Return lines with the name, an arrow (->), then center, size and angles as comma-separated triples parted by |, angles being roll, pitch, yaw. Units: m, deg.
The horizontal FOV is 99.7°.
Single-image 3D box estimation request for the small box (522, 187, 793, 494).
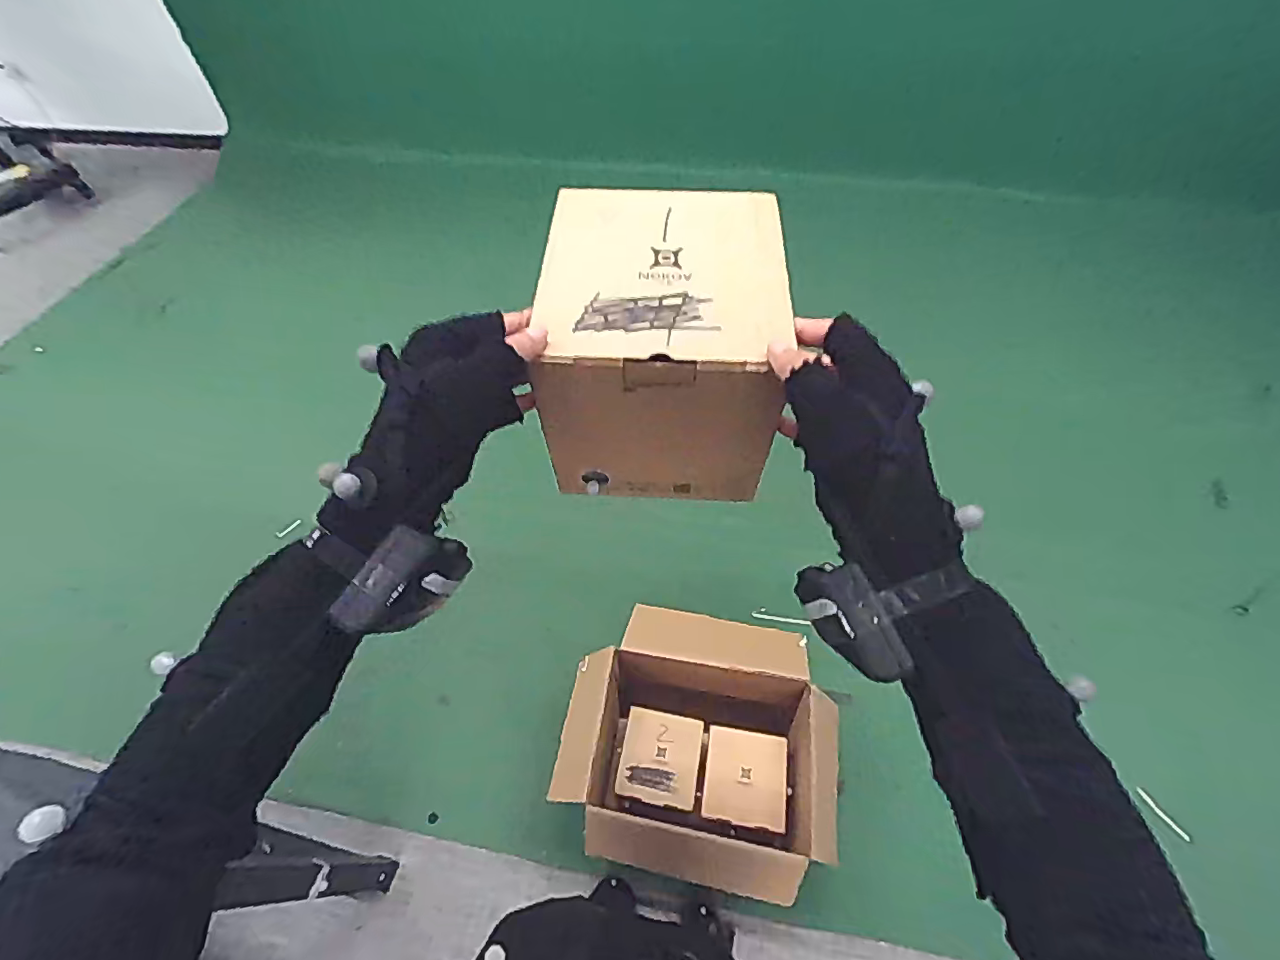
small box -> 0.016, -0.102, 0.430 | 0.168, 0.176, 0.179 | 3, 58, 2
